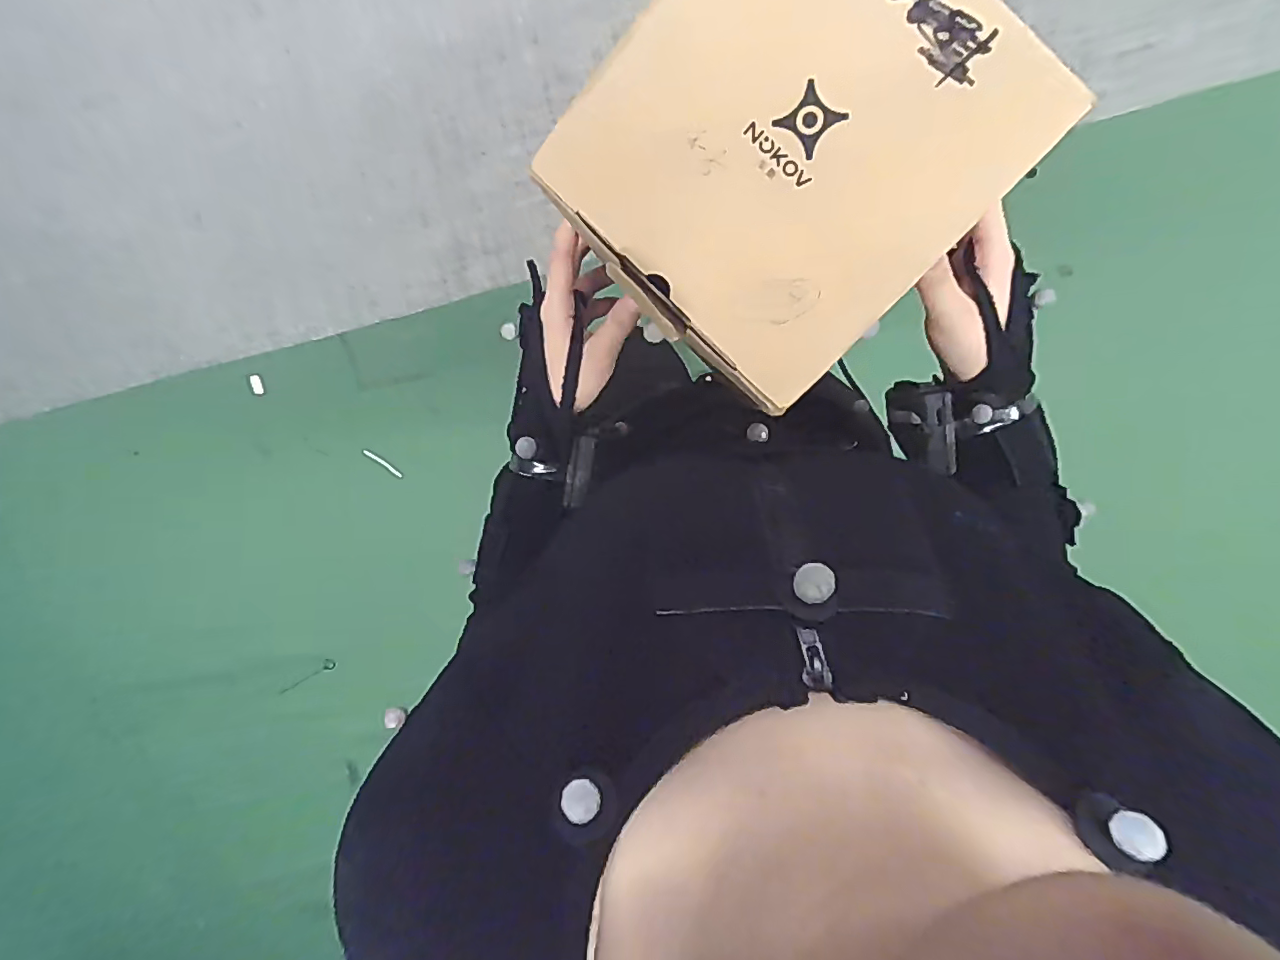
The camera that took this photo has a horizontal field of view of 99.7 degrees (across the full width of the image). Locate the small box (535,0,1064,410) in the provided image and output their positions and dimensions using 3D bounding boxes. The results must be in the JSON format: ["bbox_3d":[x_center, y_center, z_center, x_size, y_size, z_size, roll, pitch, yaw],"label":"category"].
[{"bbox_3d":[0.075,-0.160,0.320,0.168,0.176,0.179,44,102,-1],"label":"small box"}]
